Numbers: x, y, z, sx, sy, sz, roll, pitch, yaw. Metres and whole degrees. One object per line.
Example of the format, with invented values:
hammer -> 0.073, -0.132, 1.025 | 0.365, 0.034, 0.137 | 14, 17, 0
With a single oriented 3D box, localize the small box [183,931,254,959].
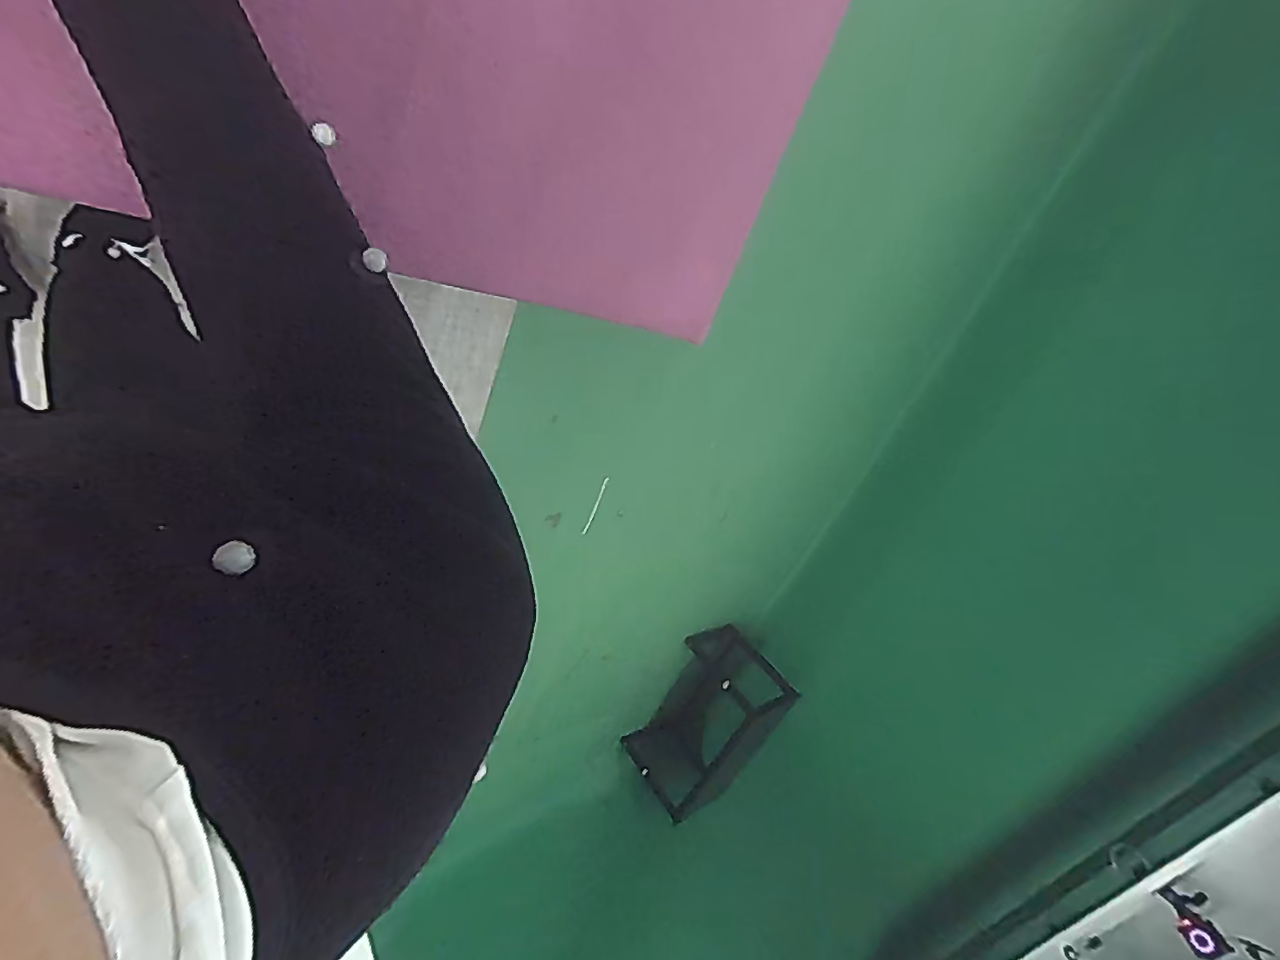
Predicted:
small box -> -1.234, 1.475, 1.572 | 0.168, 0.176, 0.179 | 1, 124, -47

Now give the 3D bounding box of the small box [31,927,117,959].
small box -> -1.527, 1.360, 1.445 | 0.168, 0.176, 0.179 | 11, 116, -51
